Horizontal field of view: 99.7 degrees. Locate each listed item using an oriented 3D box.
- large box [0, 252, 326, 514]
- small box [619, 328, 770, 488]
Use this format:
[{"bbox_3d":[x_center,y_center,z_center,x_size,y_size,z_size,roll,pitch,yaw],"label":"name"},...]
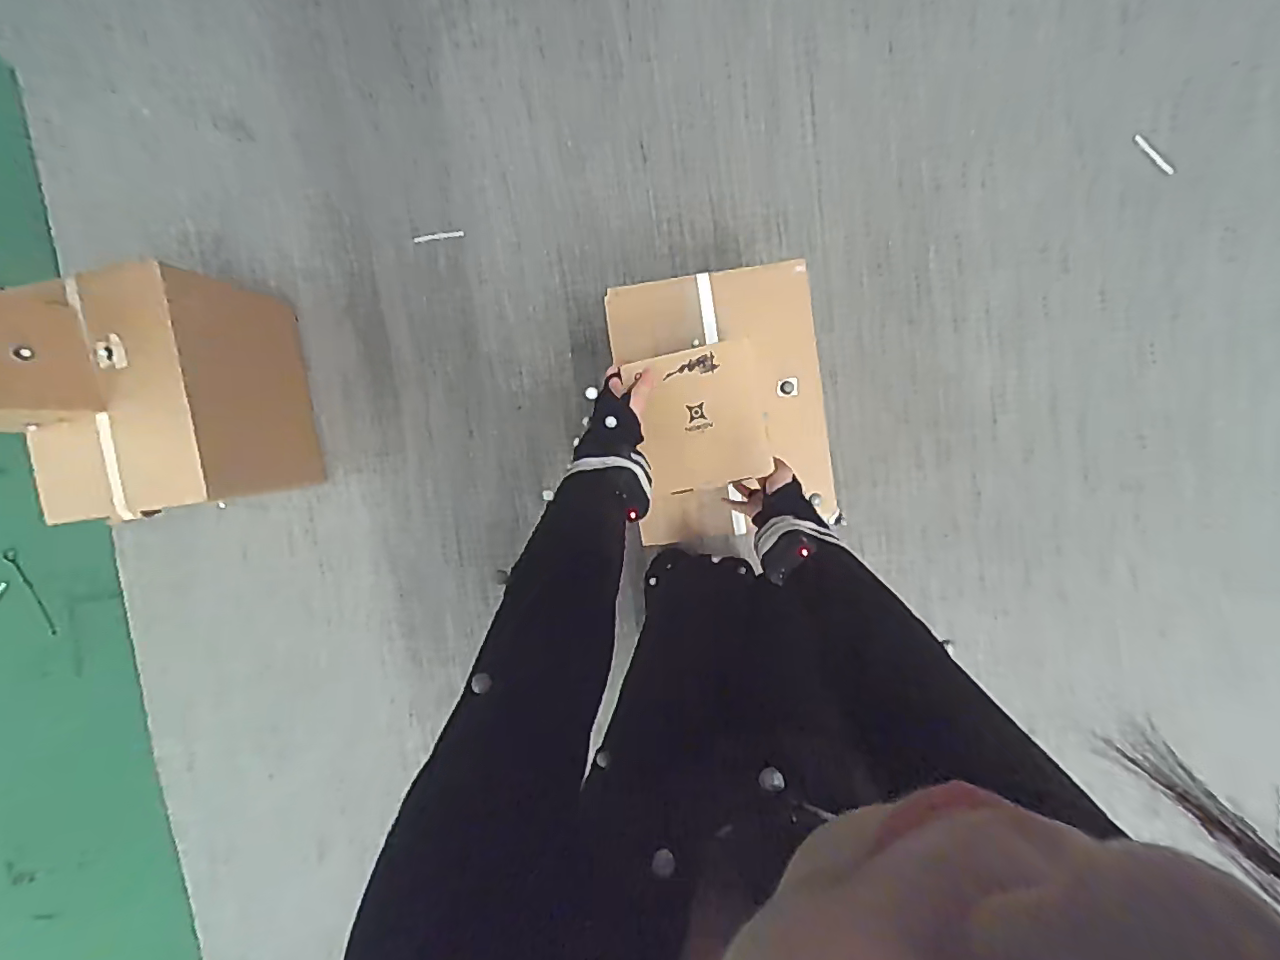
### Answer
[{"bbox_3d":[-0.889,-0.171,1.059,0.320,0.320,0.408,-8,95,6],"label":"large box"},{"bbox_3d":[0.078,-0.099,0.753,0.168,0.176,0.179,-11,96,7],"label":"small box"}]
